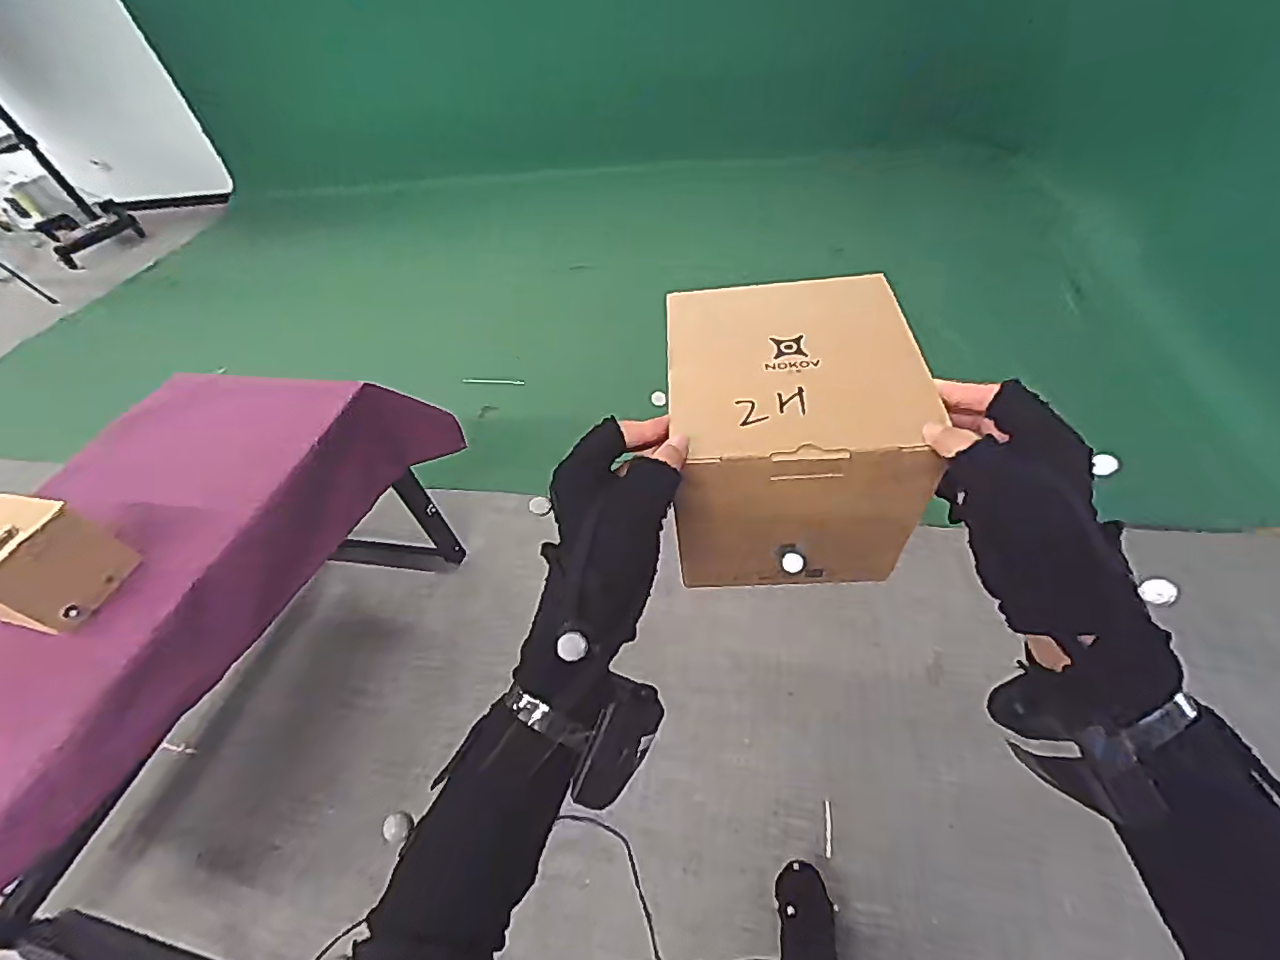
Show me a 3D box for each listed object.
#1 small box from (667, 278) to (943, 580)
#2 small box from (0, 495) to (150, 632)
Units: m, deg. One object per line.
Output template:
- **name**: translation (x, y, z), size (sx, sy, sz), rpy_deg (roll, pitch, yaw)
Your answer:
- **small box**: translation (0.110, -0.036, 0.439), size (0.168, 0.176, 0.179), rpy_deg (-3, 52, 7)
- **small box**: translation (-1.041, 0.149, 0.951), size (0.179, 0.176, 0.168), rpy_deg (5, 49, 16)
